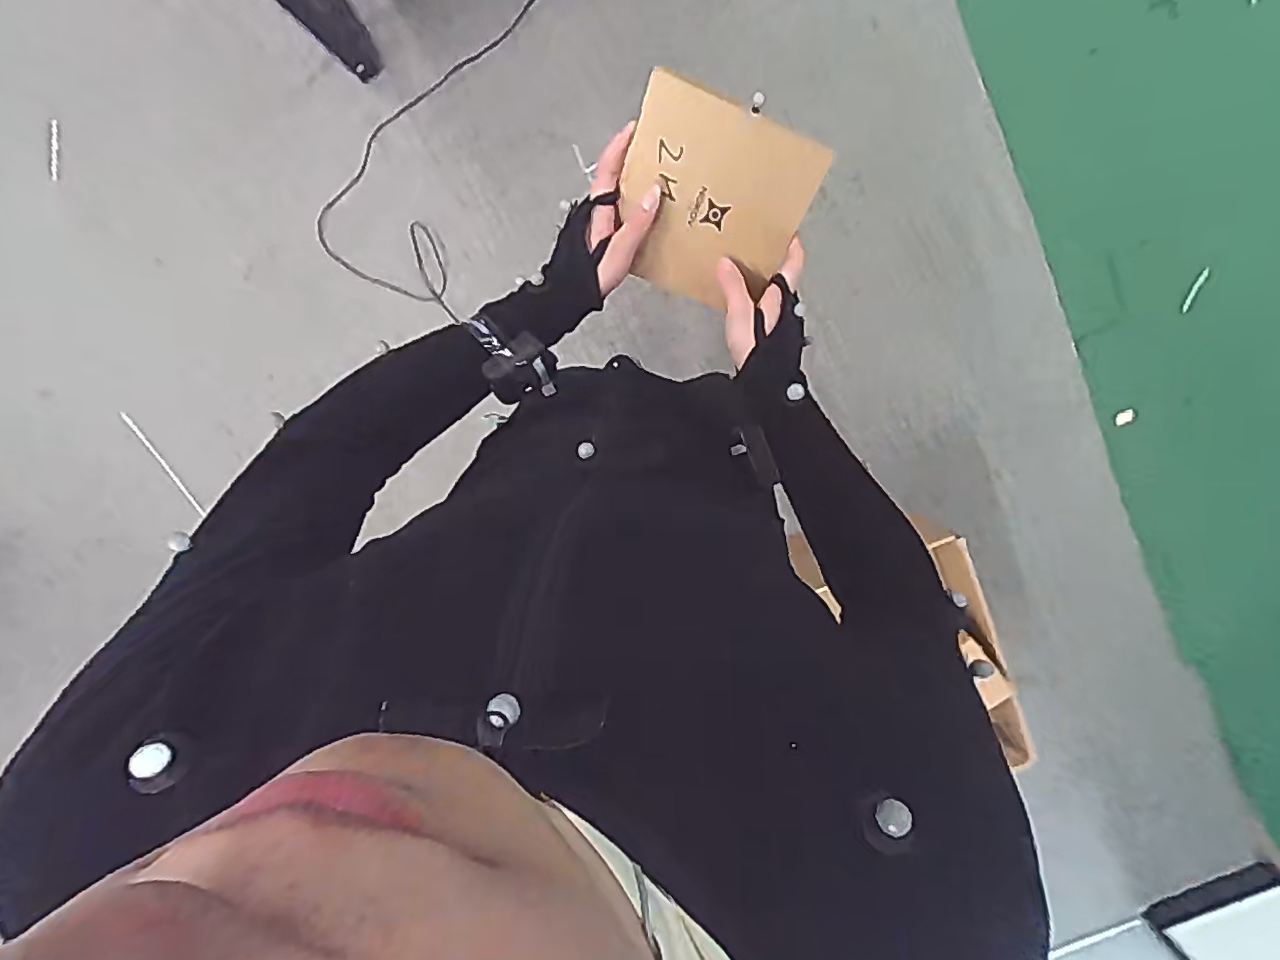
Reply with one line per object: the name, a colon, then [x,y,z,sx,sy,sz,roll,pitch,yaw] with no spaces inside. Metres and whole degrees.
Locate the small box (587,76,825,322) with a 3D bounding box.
small box: [0.059,-0.298,0.566,0.179,0.176,0.168,18,127,-9]
